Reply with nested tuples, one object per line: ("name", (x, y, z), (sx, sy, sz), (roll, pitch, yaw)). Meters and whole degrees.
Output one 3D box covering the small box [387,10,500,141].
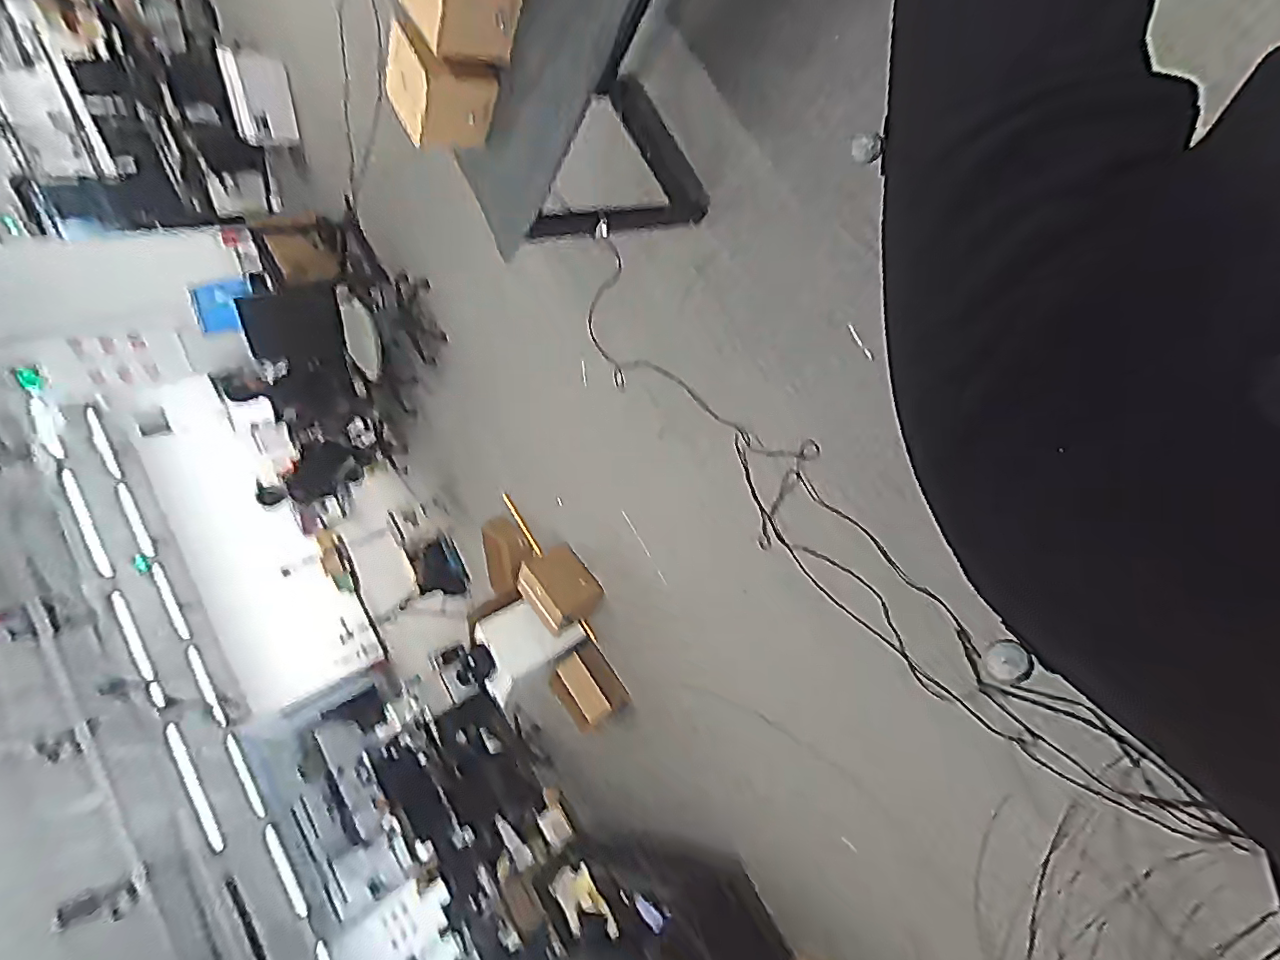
("small box", (-0.445, -0.898, 1.221), (0.179, 0.176, 0.168), (61, 144, 7))
